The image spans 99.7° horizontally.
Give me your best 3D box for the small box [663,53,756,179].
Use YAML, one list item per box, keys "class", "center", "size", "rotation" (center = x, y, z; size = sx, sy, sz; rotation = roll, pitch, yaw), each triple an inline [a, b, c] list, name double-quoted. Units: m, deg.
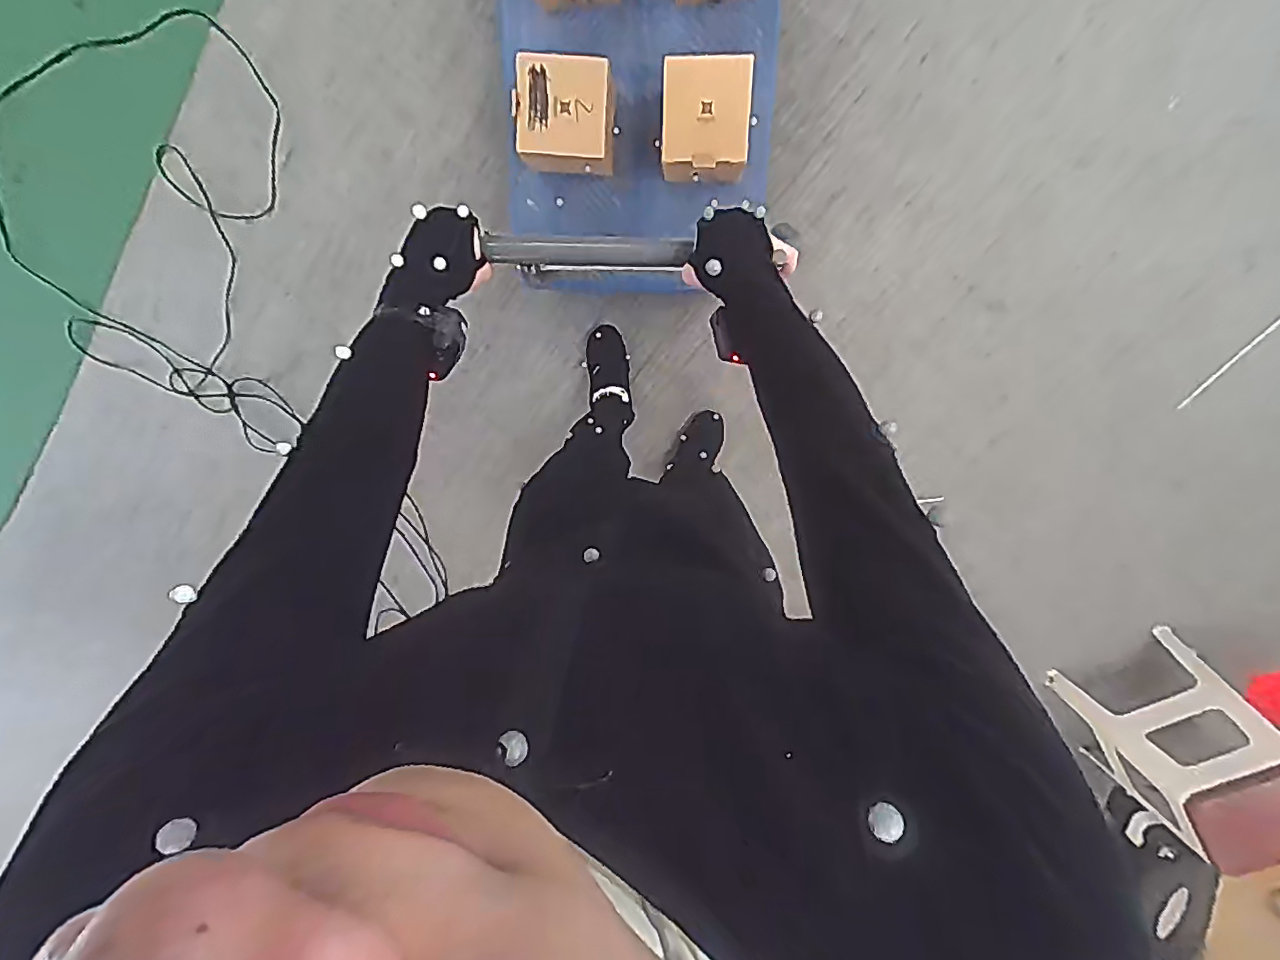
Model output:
- class: "small box"
  center: [0.132, -0.722, 1.087]
  size: [0.168, 0.176, 0.179]
  rotation: [2, 110, 3]
